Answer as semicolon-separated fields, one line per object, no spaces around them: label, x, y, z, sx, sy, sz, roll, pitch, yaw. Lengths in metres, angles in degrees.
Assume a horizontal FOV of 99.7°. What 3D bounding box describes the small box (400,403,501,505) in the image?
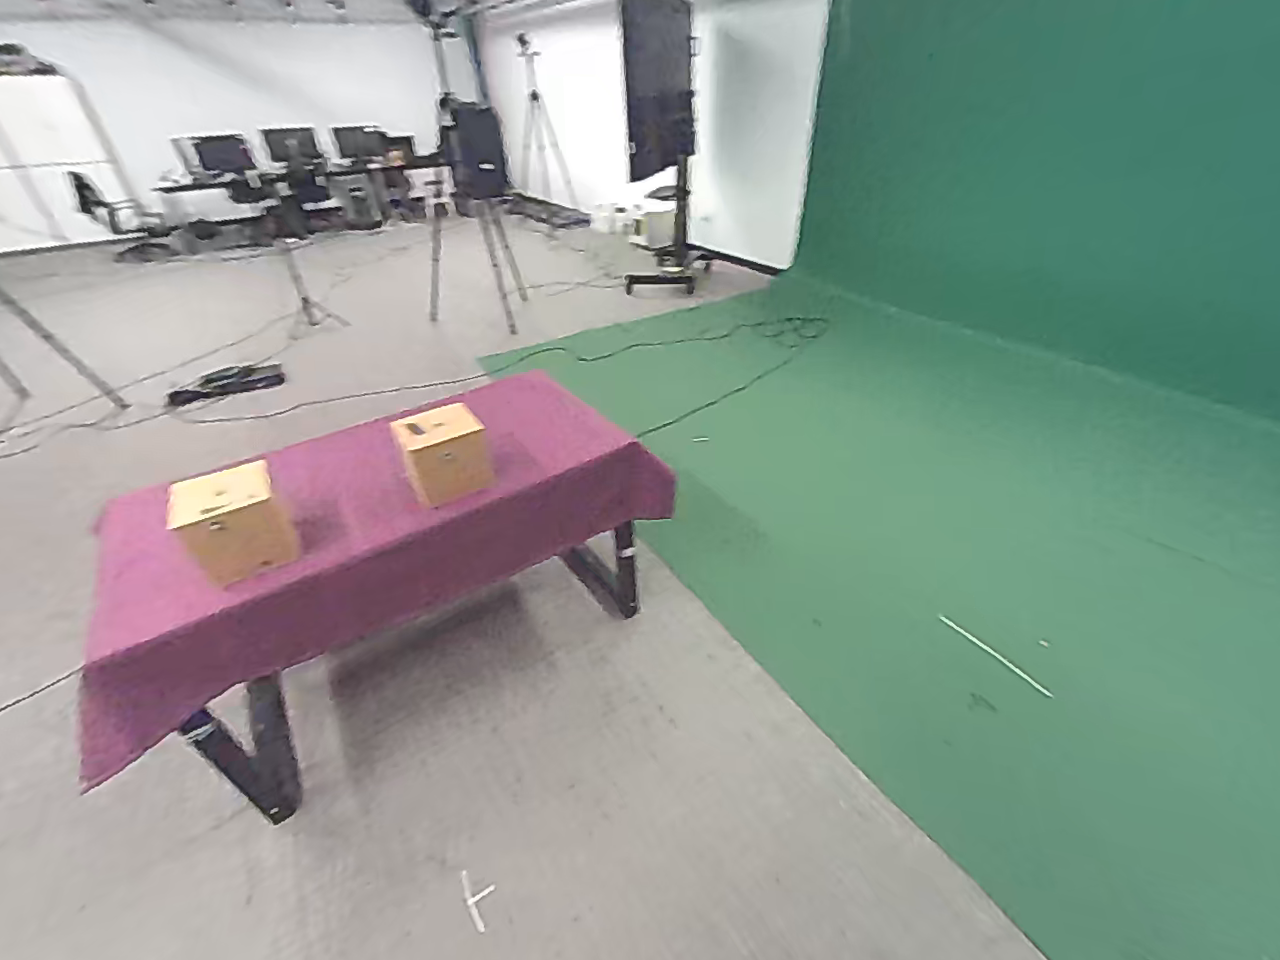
small box;-0.465;-0.063;1.336;0.179;0.176;0.168;-22;41;-26

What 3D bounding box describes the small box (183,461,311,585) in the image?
small box;-0.830;0.089;1.152;0.168;0.176;0.179;-23;40;-24
